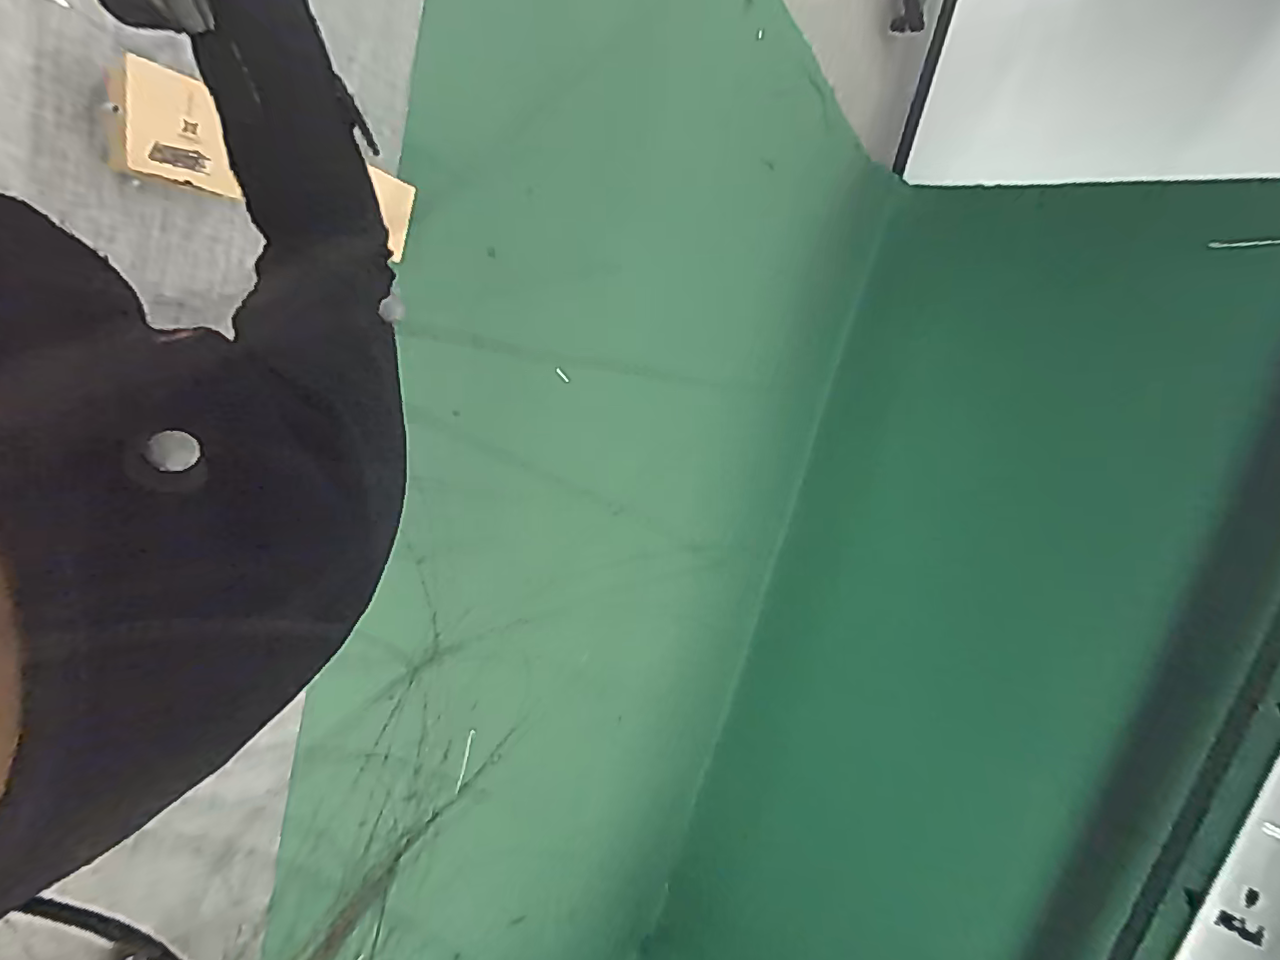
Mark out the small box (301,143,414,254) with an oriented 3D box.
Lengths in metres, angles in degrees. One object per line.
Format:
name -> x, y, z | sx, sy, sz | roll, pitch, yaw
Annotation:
small box -> -0.657, -0.645, 1.253 | 0.168, 0.176, 0.179 | 4, 105, -52

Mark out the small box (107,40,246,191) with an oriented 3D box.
small box -> -0.854, -0.653, 0.995 | 0.168, 0.176, 0.179 | -4, 111, -51
